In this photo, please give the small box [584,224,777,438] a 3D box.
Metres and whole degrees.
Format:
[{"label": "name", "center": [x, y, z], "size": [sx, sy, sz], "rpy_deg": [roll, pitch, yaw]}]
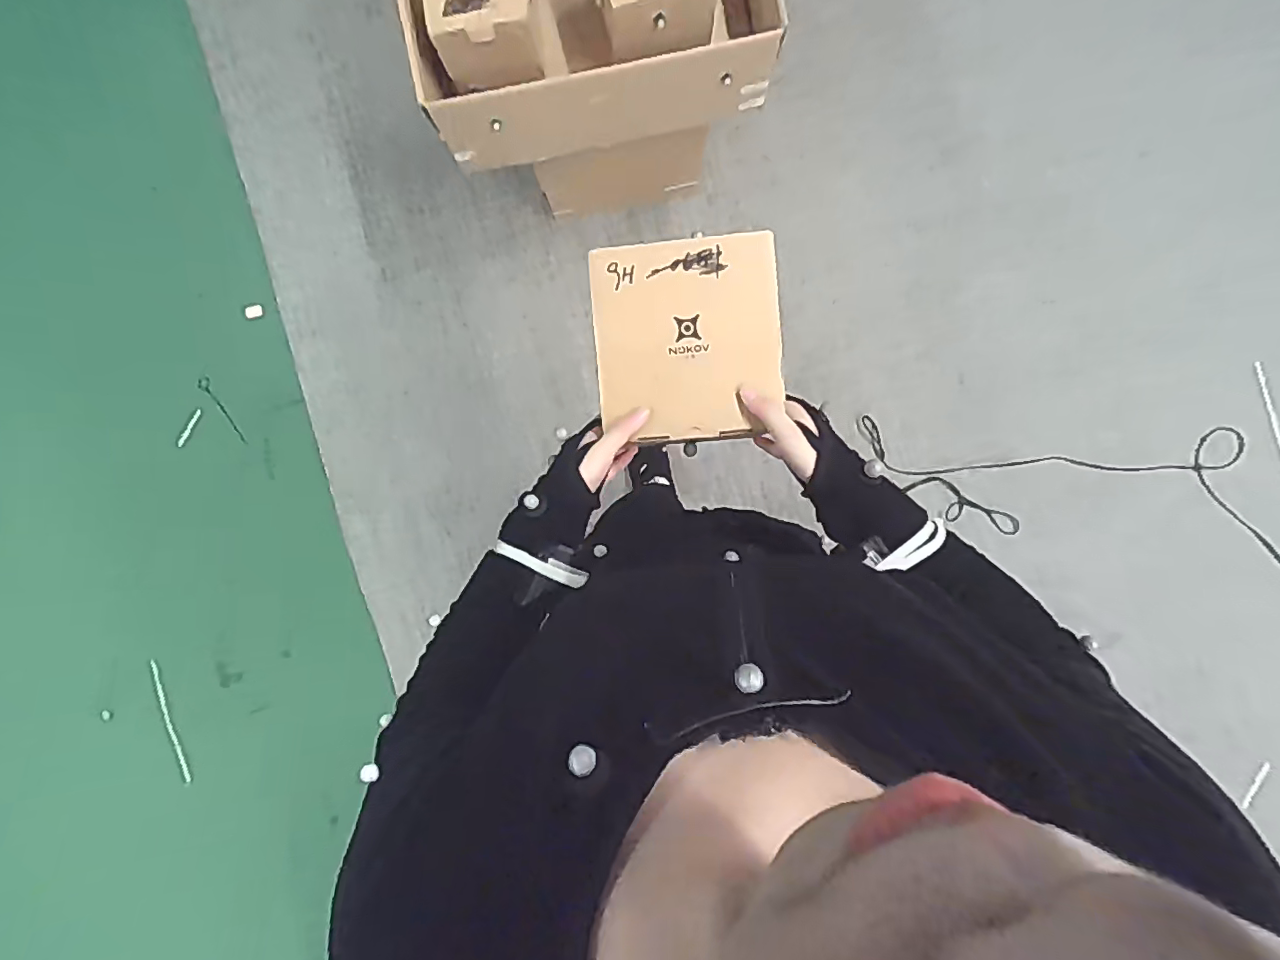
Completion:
[{"label": "small box", "center": [0.041, -0.137, 0.557], "size": [0.168, 0.176, 0.179], "rpy_deg": [-4, 93, 3]}]
